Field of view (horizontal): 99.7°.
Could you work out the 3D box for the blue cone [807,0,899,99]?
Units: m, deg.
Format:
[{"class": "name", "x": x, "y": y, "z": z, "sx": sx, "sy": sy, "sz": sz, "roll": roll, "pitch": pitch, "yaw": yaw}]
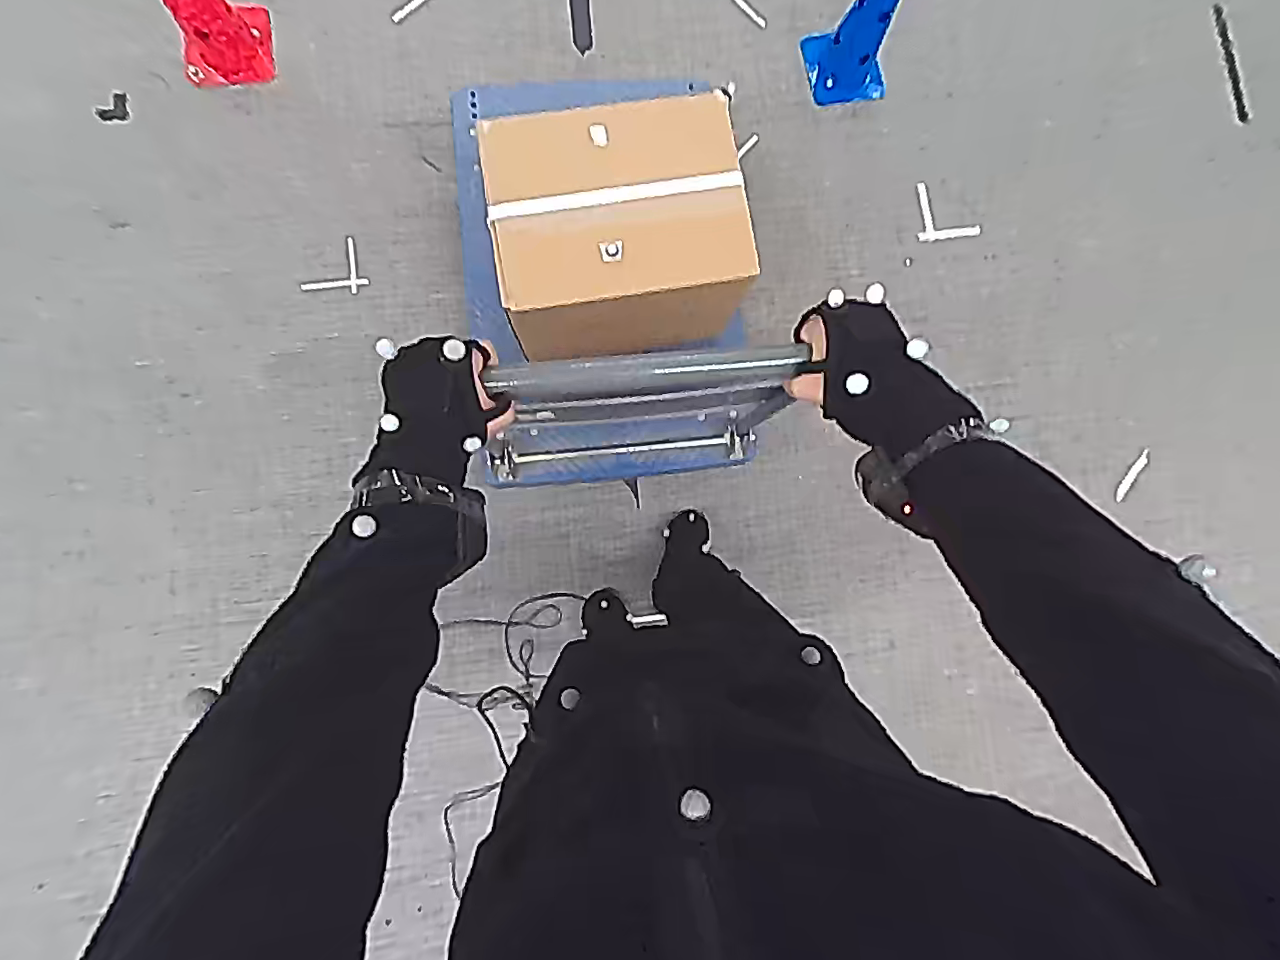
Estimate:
[{"class": "blue cone", "x": 0.559, "y": -1.117, "z": 1.269, "sx": 0.193, "sy": 0.380, "sz": 0.192, "roll": -10, "pitch": 85, "yaw": -6}]
